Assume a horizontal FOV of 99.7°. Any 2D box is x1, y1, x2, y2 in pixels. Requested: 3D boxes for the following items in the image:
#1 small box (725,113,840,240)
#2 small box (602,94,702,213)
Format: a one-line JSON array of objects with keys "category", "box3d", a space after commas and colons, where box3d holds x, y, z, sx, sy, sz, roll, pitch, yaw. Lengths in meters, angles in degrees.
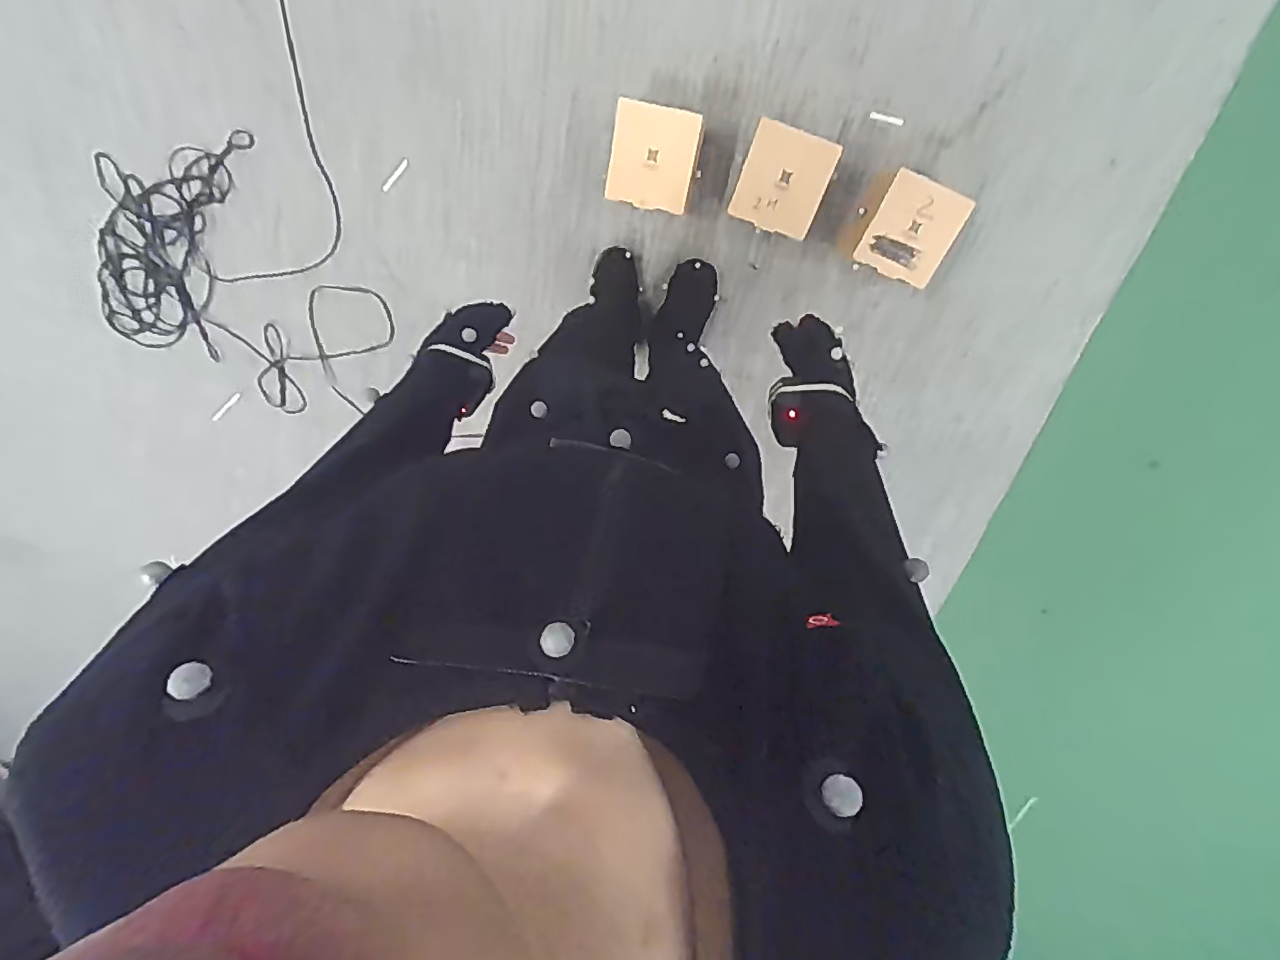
[{"category": "small box", "box3d": [0.279, -0.614, 1.108, 0.168, 0.176, 0.179, 20, 118, -2]}, {"category": "small box", "box3d": [0.028, -0.664, 1.118, 0.168, 0.176, 0.179, 13, 118, 1]}]
